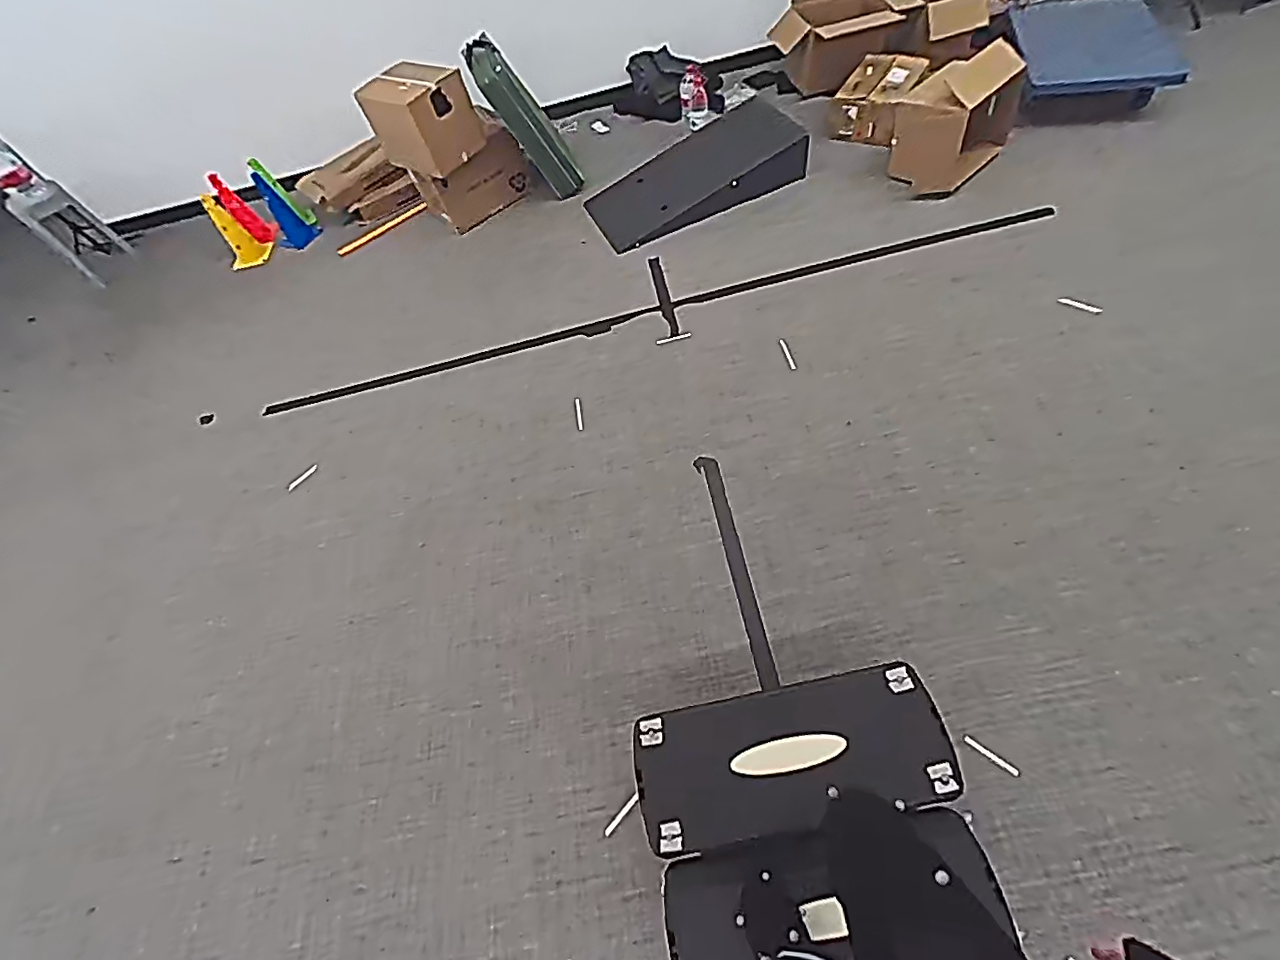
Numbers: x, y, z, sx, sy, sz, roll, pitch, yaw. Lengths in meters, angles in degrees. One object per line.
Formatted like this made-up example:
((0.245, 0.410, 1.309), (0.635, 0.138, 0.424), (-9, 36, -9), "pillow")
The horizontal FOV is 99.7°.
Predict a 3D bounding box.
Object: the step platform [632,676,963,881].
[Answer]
((0.324, 0.660, 1.212), (0.684, 0.204, 0.286), (-14, 57, 1), "step platform")
